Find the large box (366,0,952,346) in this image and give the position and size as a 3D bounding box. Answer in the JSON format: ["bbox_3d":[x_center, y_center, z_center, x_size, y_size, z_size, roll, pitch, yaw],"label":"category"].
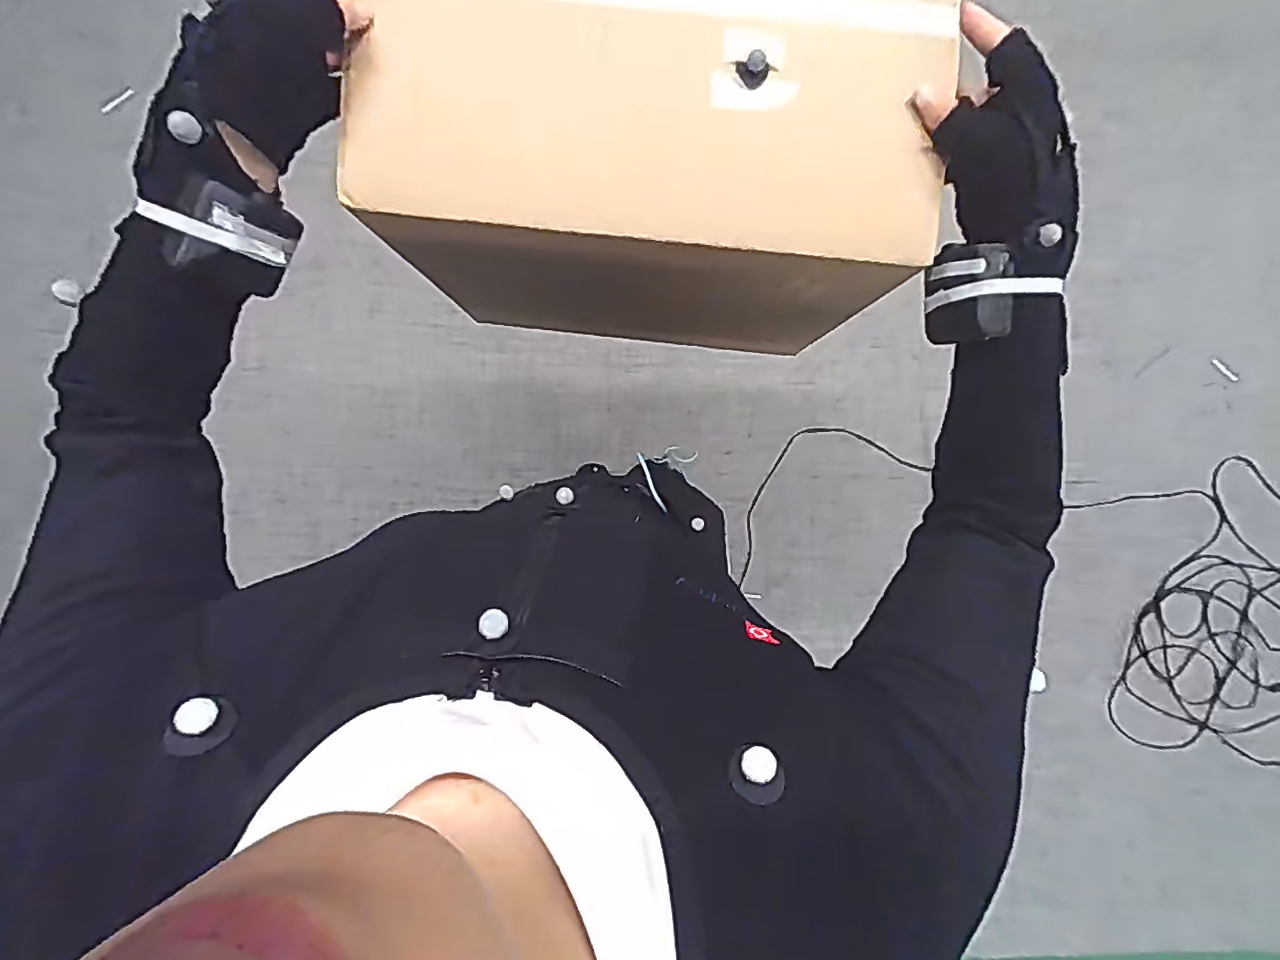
[{"bbox_3d":[0.014,-0.329,0.523,0.408,0.320,0.320,5,92,-1],"label":"large box"}]
